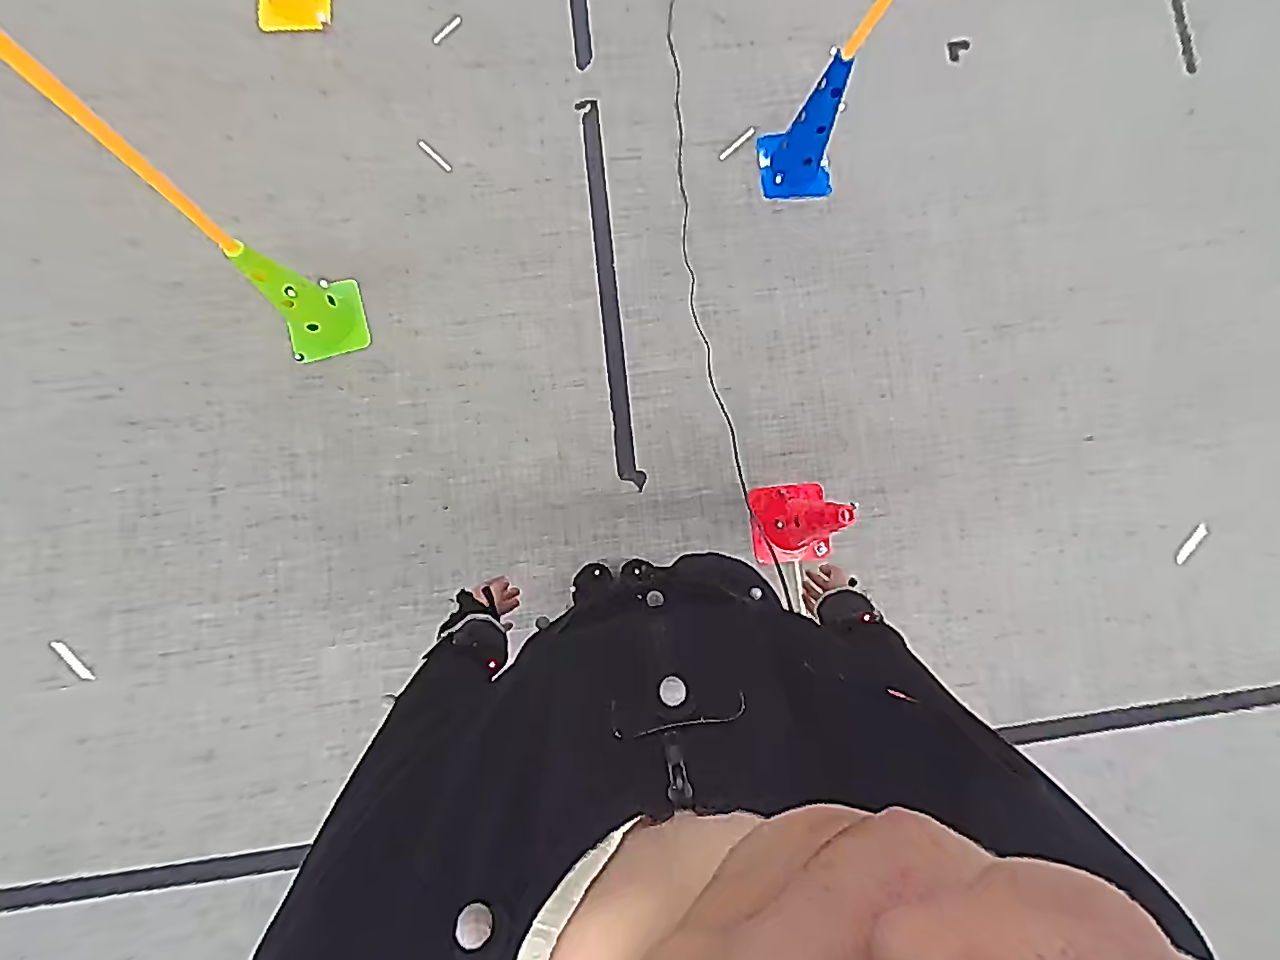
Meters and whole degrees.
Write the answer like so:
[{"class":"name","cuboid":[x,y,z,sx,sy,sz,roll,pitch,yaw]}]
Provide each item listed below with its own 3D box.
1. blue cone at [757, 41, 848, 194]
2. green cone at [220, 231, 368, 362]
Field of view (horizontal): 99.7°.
[{"class":"blue cone","cuboid":[0.445,-0.931,1.390,0.193,0.380,0.192,-3,82,-3]},{"class":"green cone","cuboid":[-0.827,-0.451,1.262,0.200,0.368,0.202,-17,82,-5]}]
